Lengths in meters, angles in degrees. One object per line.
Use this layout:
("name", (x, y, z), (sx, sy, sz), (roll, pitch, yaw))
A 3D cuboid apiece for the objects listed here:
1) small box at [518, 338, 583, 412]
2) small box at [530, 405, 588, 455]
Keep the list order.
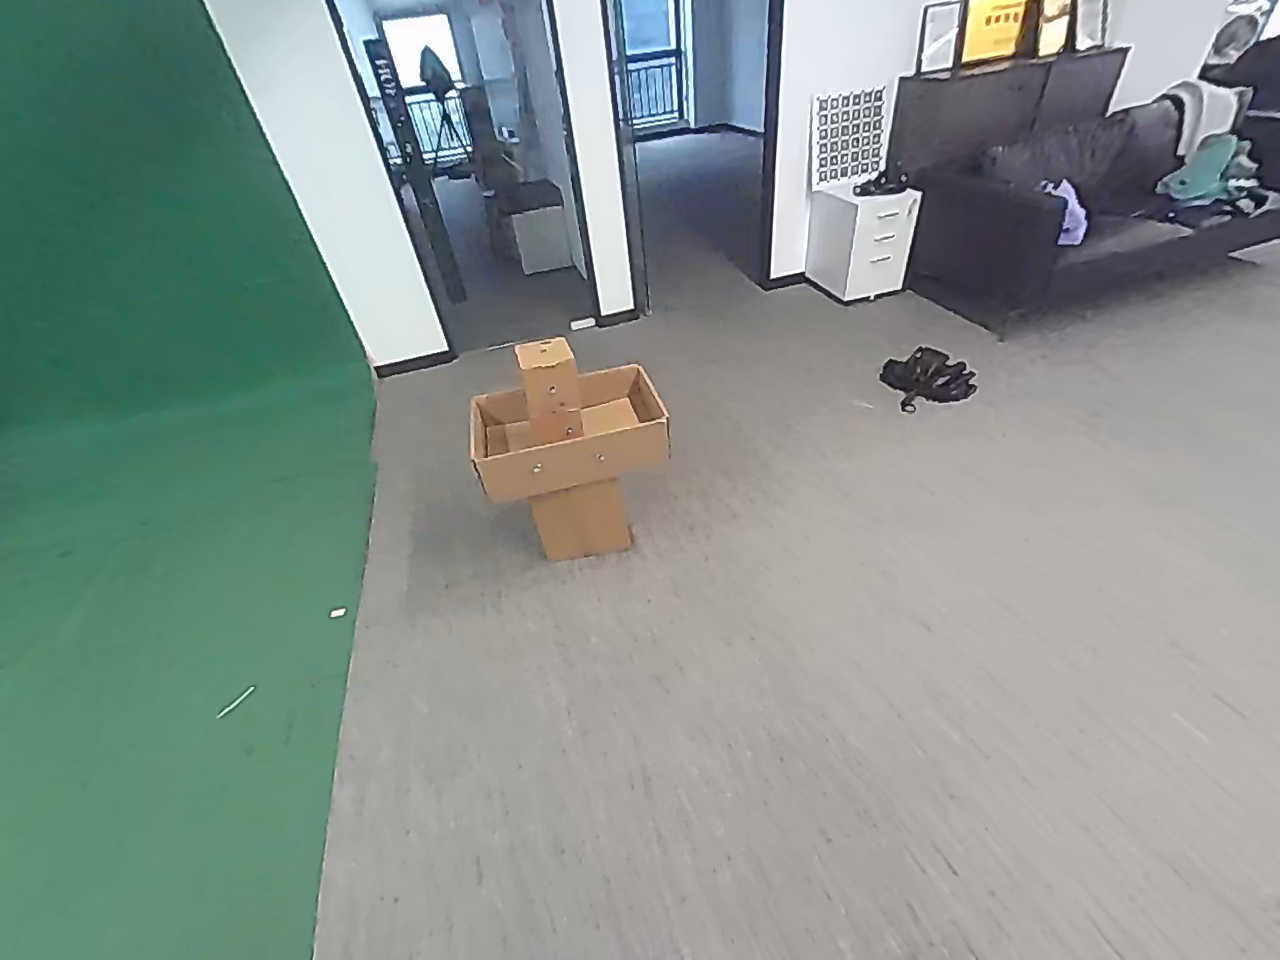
("small box", (-0.286, -0.330, 1.737), (0.168, 0.176, 0.179), (-13, 40, -11))
("small box", (-0.275, -0.198, 1.834), (0.168, 0.176, 0.179), (-12, 38, -9))
